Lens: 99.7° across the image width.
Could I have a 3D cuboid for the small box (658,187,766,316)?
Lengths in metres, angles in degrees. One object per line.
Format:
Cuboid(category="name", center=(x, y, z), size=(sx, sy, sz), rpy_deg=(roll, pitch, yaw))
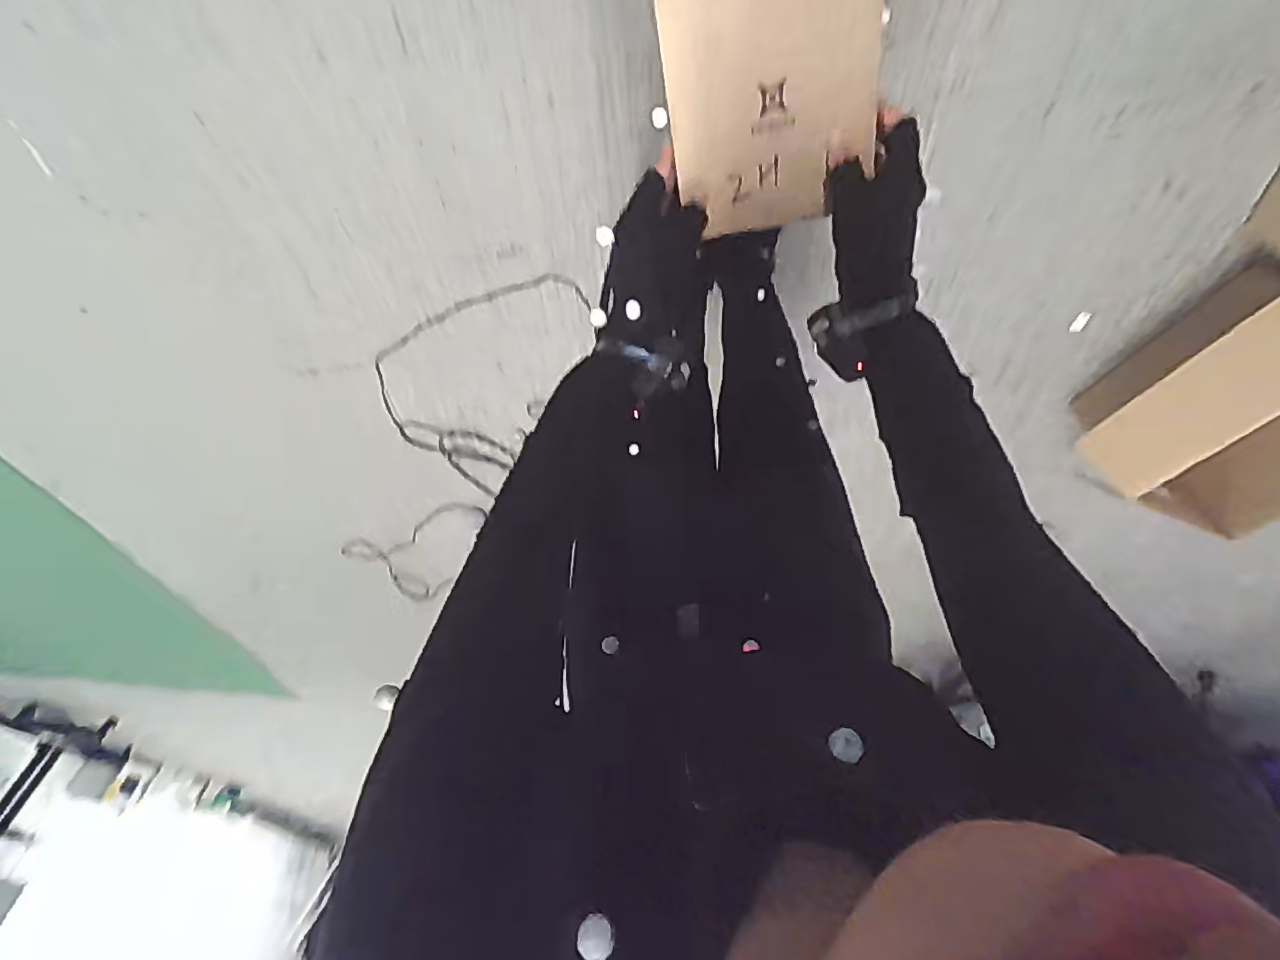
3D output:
Cuboid(category="small box", center=(0.131, -0.448, 1.067), size=(0.168, 0.176, 0.179), rpy_deg=(-1, 140, -8))
